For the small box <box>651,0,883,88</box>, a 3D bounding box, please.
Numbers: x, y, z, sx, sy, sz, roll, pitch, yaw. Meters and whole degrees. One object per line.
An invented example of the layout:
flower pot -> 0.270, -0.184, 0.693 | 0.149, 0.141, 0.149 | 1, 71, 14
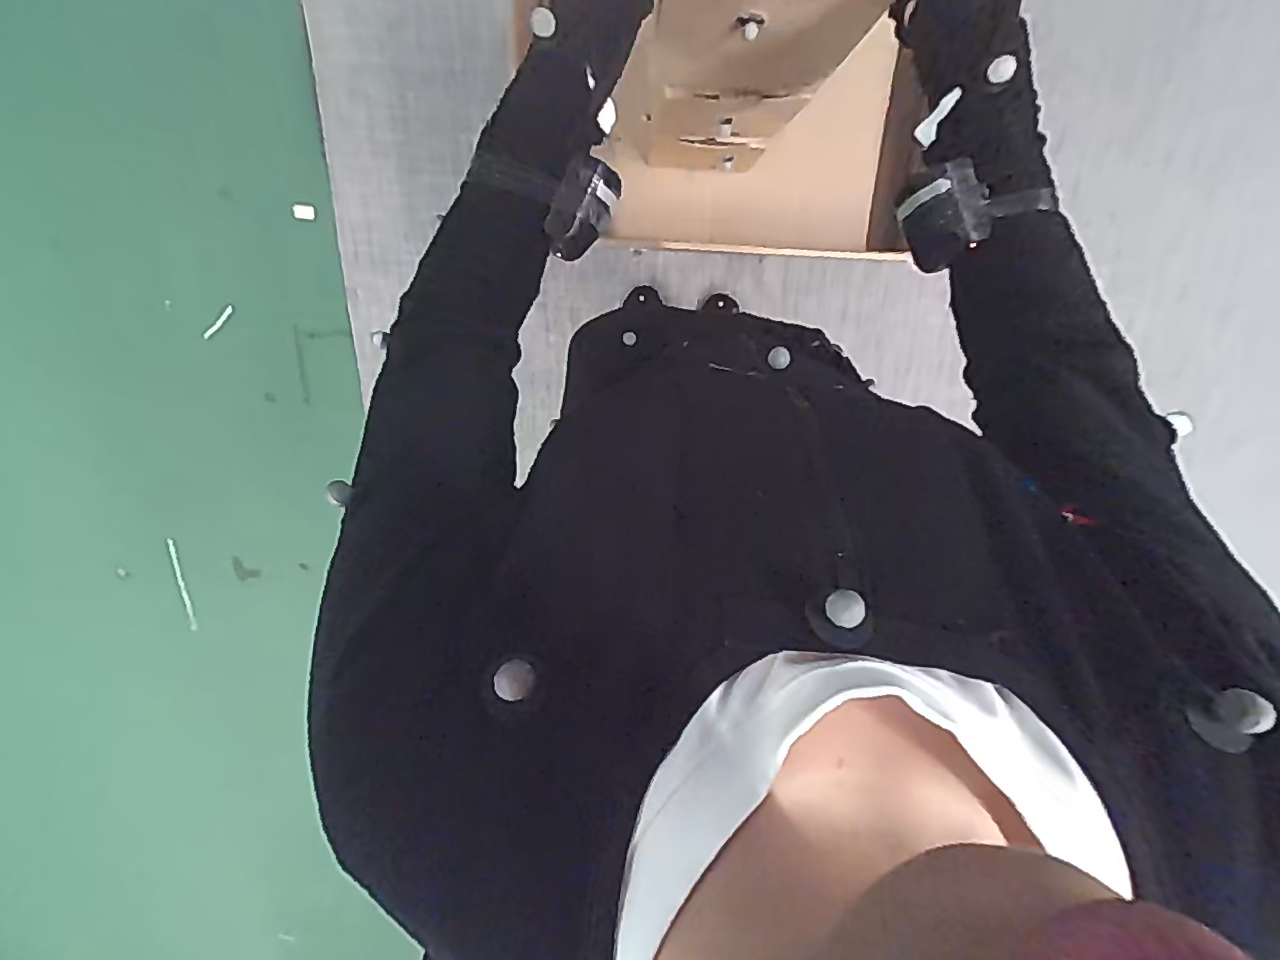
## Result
small box -> 0.104, -0.457, 0.448 | 0.179, 0.176, 0.168 | 2, 105, -5

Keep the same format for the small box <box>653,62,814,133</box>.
small box -> 0.103, -0.515, 0.618 | 0.168, 0.176, 0.179 | 0, 110, -2

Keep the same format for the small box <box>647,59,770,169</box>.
small box -> 0.097, -0.563, 0.775 | 0.168, 0.176, 0.179 | 2, 108, -2
